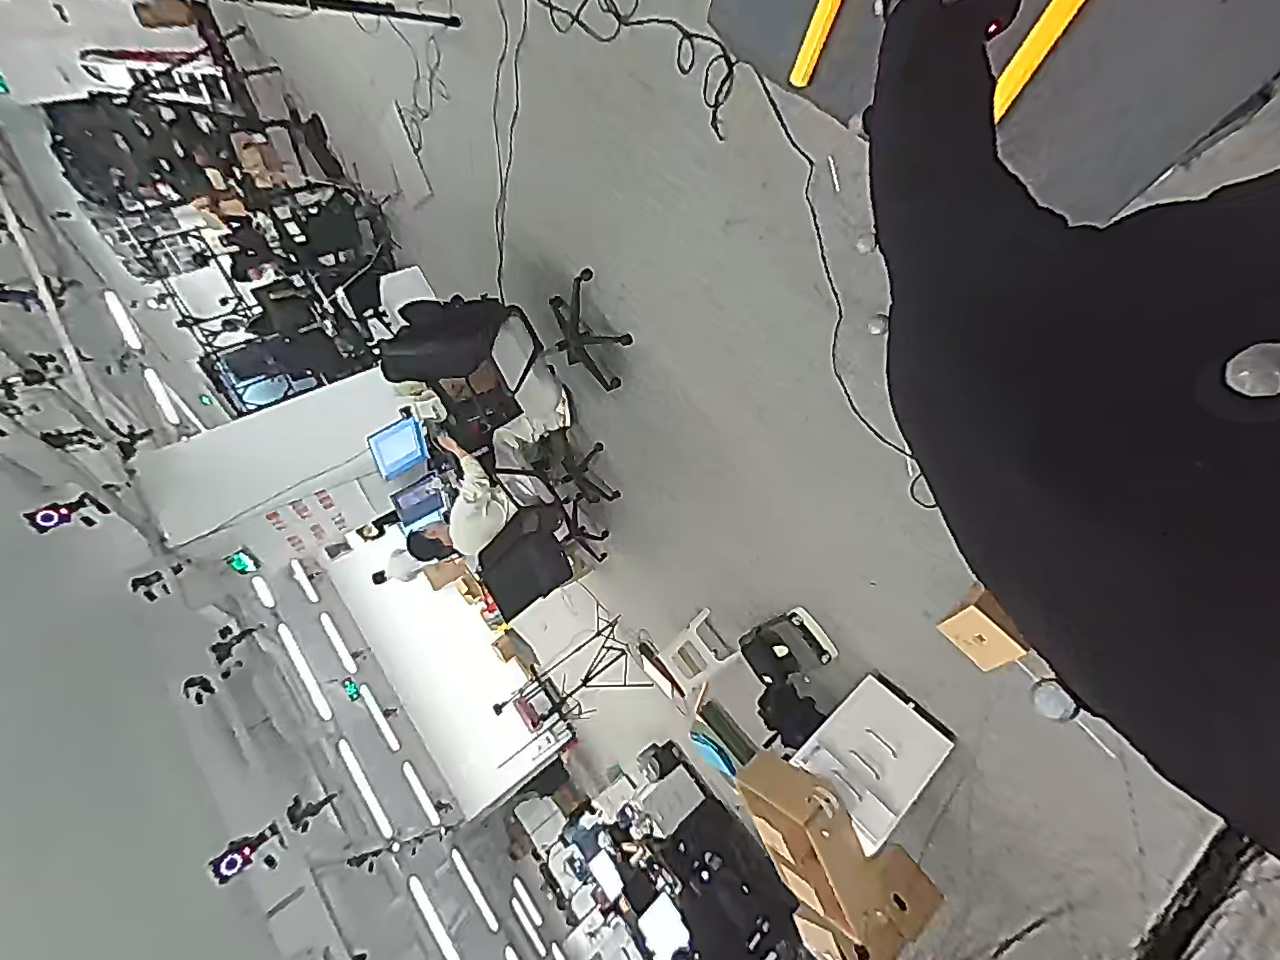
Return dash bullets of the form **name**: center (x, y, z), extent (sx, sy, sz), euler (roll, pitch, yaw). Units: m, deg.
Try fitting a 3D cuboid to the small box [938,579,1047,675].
- **small box**: center (0.987, 0.405, 1.509), extent (0.168, 0.176, 0.179), euler (47, 152, 21)
